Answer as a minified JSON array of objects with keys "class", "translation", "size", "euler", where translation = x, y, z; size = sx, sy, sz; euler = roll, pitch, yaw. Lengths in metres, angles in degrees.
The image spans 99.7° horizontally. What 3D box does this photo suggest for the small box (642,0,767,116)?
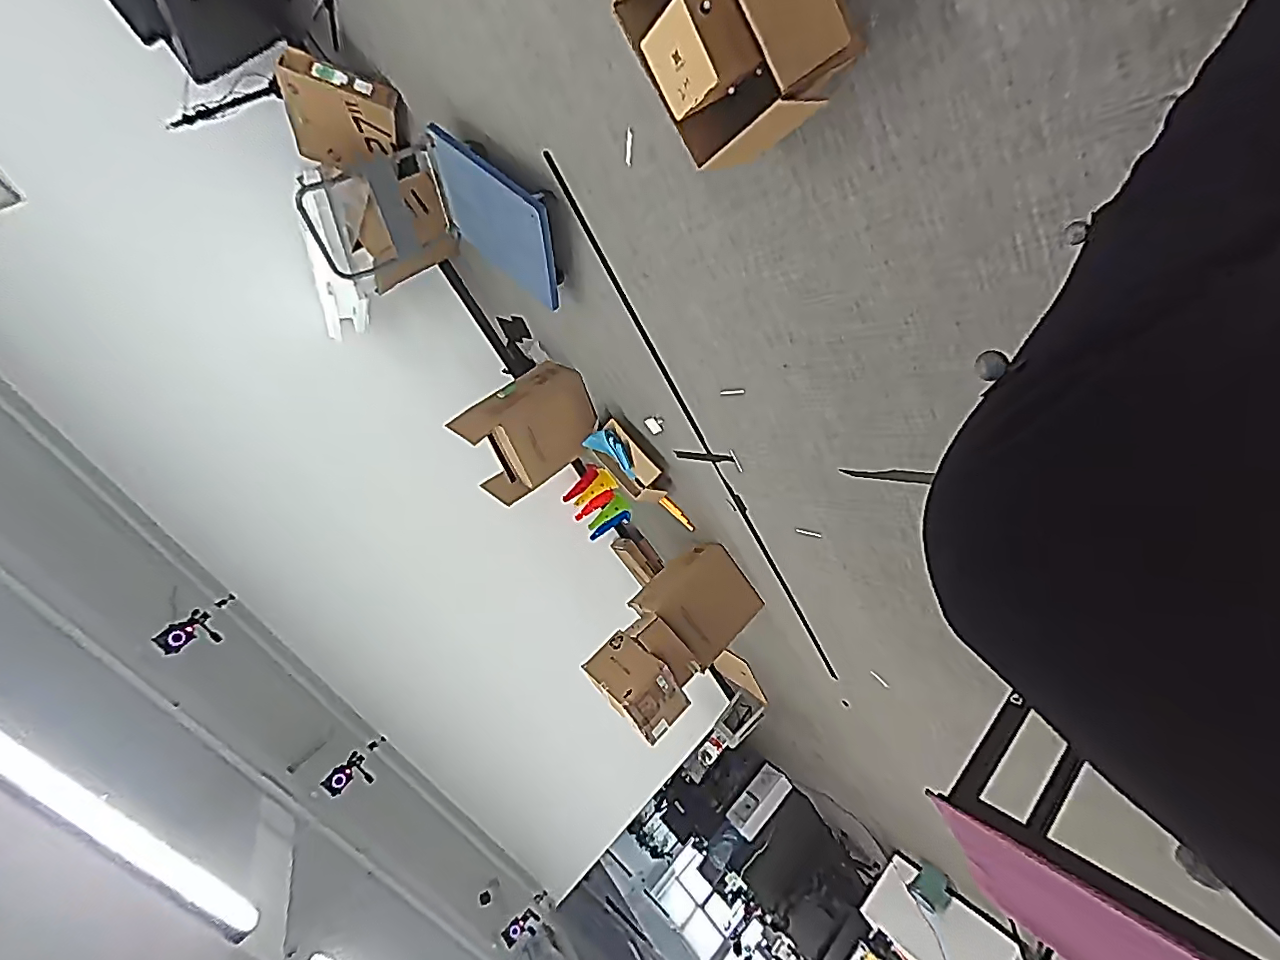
[{"class":"small box","translation":[0.144,-0.957,1.187],"size":[0.179,0.176,0.168],"euler":[56,159,-20]}]
